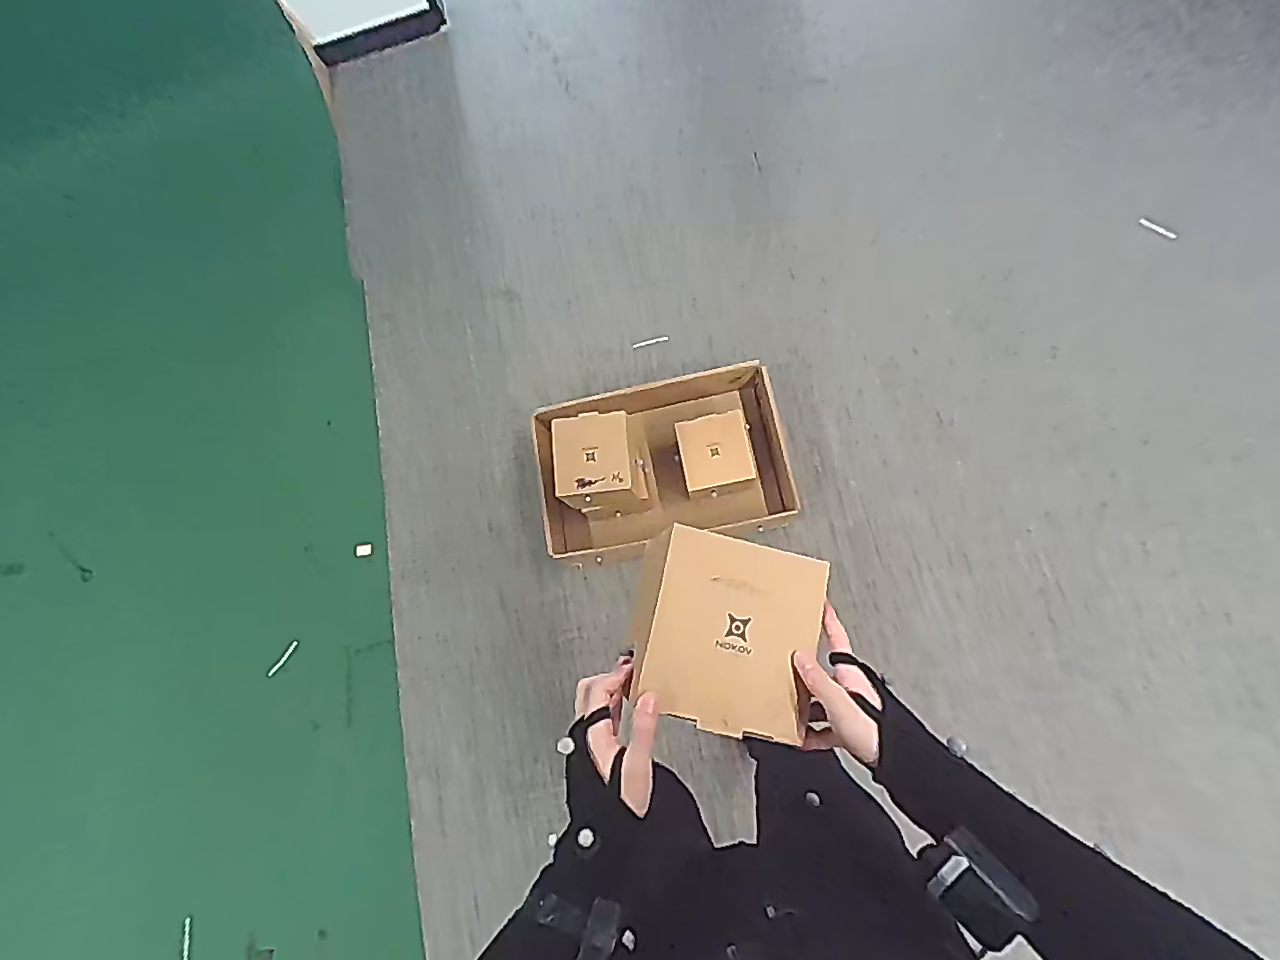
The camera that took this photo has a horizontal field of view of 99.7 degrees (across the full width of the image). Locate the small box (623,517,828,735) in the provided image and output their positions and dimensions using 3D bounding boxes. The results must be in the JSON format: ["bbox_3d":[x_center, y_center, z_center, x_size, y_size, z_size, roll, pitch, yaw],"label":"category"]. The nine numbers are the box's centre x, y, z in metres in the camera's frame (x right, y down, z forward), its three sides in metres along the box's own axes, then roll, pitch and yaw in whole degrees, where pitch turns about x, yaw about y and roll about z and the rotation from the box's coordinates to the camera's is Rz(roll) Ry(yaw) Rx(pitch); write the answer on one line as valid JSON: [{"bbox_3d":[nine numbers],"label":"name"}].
[{"bbox_3d":[0.083,0.157,0.602,0.168,0.176,0.179,16,75,-6],"label":"small box"}]

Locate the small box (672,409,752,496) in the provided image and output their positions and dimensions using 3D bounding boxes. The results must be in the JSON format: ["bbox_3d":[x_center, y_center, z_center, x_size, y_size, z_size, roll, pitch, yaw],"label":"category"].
[{"bbox_3d":[0.184,-0.061,1.381,0.168,0.176,0.179,-12,77,5],"label":"small box"}]

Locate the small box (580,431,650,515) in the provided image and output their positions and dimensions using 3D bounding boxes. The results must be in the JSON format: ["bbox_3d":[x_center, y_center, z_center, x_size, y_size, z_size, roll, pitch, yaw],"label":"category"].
[{"bbox_3d":[-0.073,-0.011,1.400,0.168,0.176,0.179,-12,77,3],"label":"small box"}]

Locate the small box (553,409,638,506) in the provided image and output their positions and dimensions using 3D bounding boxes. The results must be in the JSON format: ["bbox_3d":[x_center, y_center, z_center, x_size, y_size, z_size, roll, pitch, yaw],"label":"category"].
[{"bbox_3d":[-0.098,-0.046,1.242,0.168,0.176,0.179,-6,77,5],"label":"small box"}]
